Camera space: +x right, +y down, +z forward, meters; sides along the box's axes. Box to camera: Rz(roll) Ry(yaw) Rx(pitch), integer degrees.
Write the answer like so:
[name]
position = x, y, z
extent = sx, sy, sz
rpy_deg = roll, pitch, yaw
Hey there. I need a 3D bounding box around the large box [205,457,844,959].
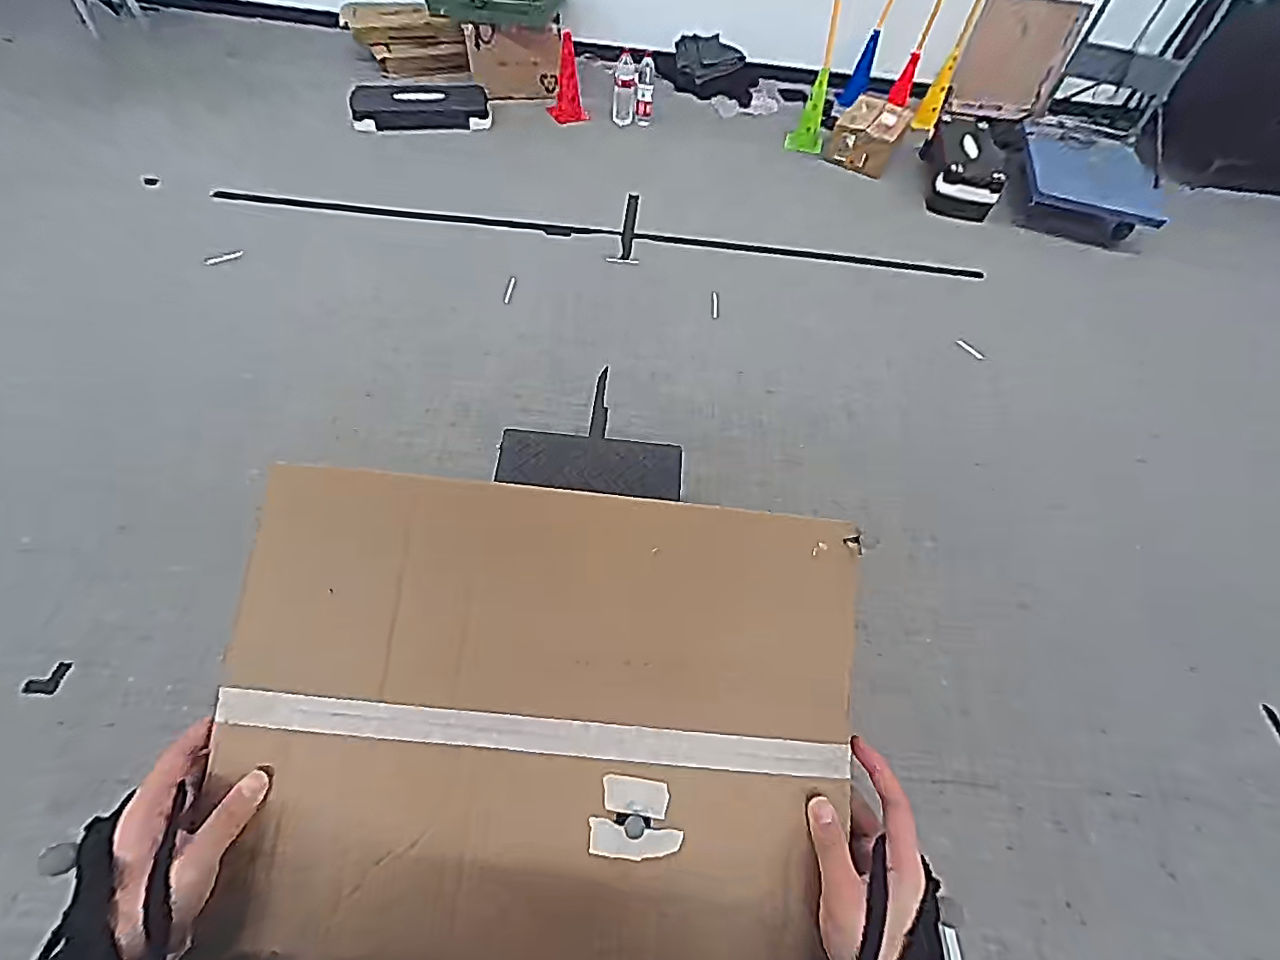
[large box]
position = -0.069, 0.175, 0.511
extent = 0.408, 0.320, 0.320
rpy_deg = 6, 82, -2
